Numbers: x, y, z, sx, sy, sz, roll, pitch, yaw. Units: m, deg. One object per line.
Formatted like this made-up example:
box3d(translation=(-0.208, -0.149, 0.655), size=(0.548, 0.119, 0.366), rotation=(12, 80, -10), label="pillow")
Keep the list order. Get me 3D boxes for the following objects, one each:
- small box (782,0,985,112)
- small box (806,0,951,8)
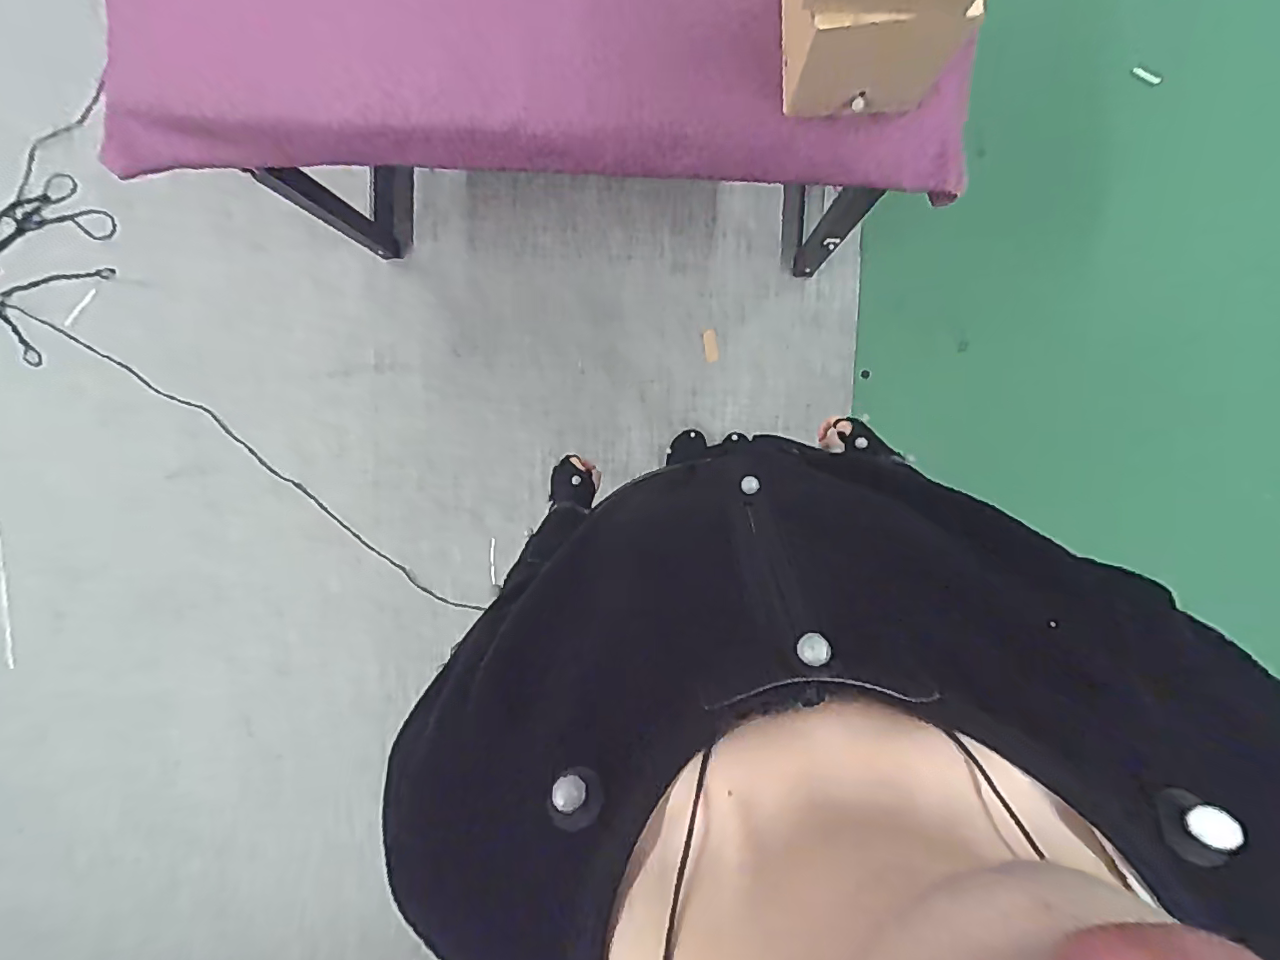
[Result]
box3d(translation=(0.275, -0.570, 0.638), size=(0.179, 0.176, 0.168), rotation=(-1, 95, 4), label="small box")
box3d(translation=(0.253, -0.565, 0.476), size=(0.179, 0.176, 0.168), rotation=(5, 95, 4), label="small box")
